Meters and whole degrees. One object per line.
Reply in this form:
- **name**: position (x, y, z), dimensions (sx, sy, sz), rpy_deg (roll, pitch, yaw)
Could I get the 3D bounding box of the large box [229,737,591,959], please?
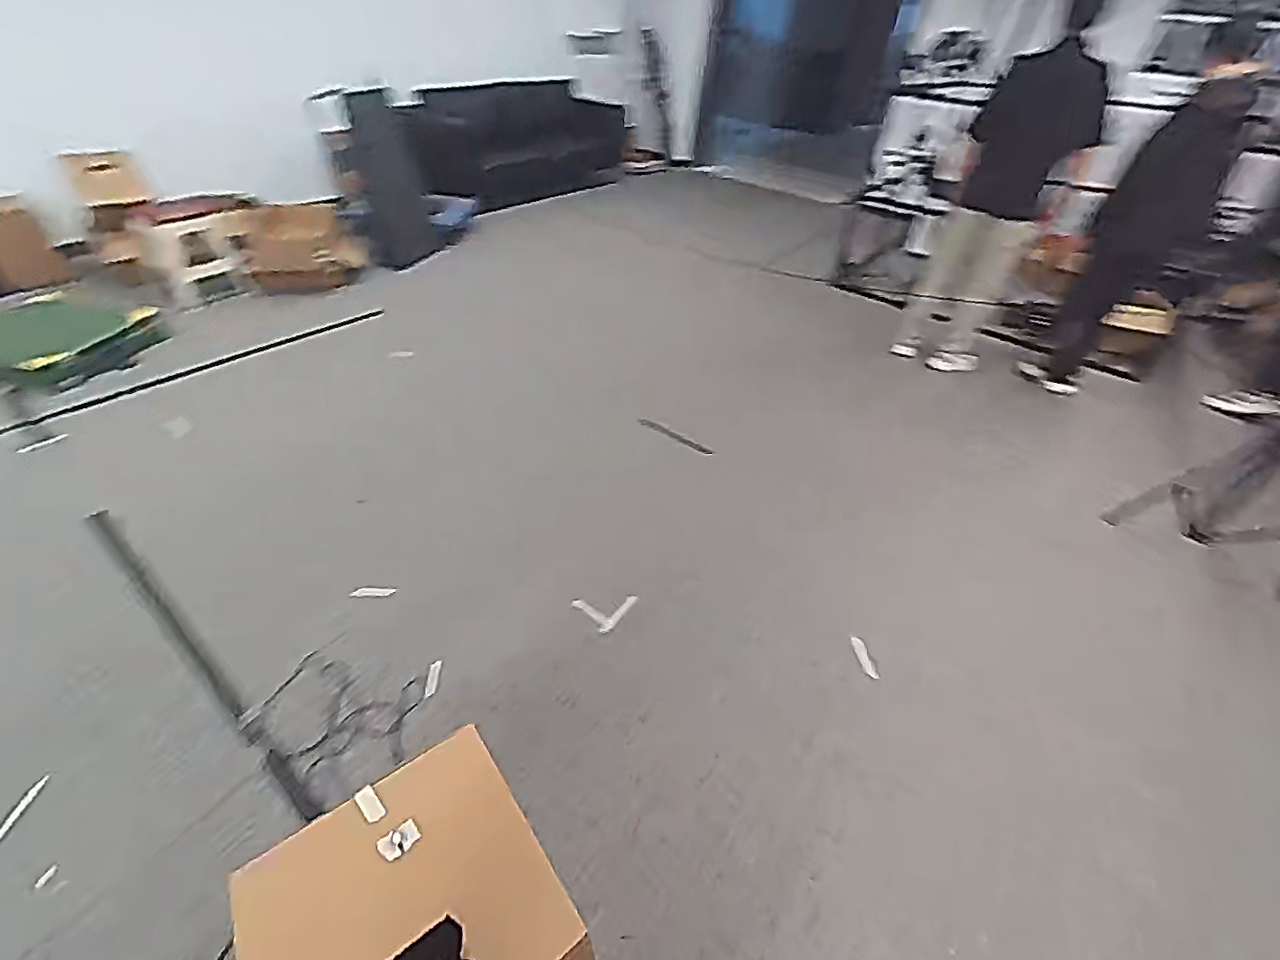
- **large box**: position (-0.273, 0.648, 0.737), dimensions (0.320, 0.408, 0.320), rpy_deg (-27, 43, -29)
